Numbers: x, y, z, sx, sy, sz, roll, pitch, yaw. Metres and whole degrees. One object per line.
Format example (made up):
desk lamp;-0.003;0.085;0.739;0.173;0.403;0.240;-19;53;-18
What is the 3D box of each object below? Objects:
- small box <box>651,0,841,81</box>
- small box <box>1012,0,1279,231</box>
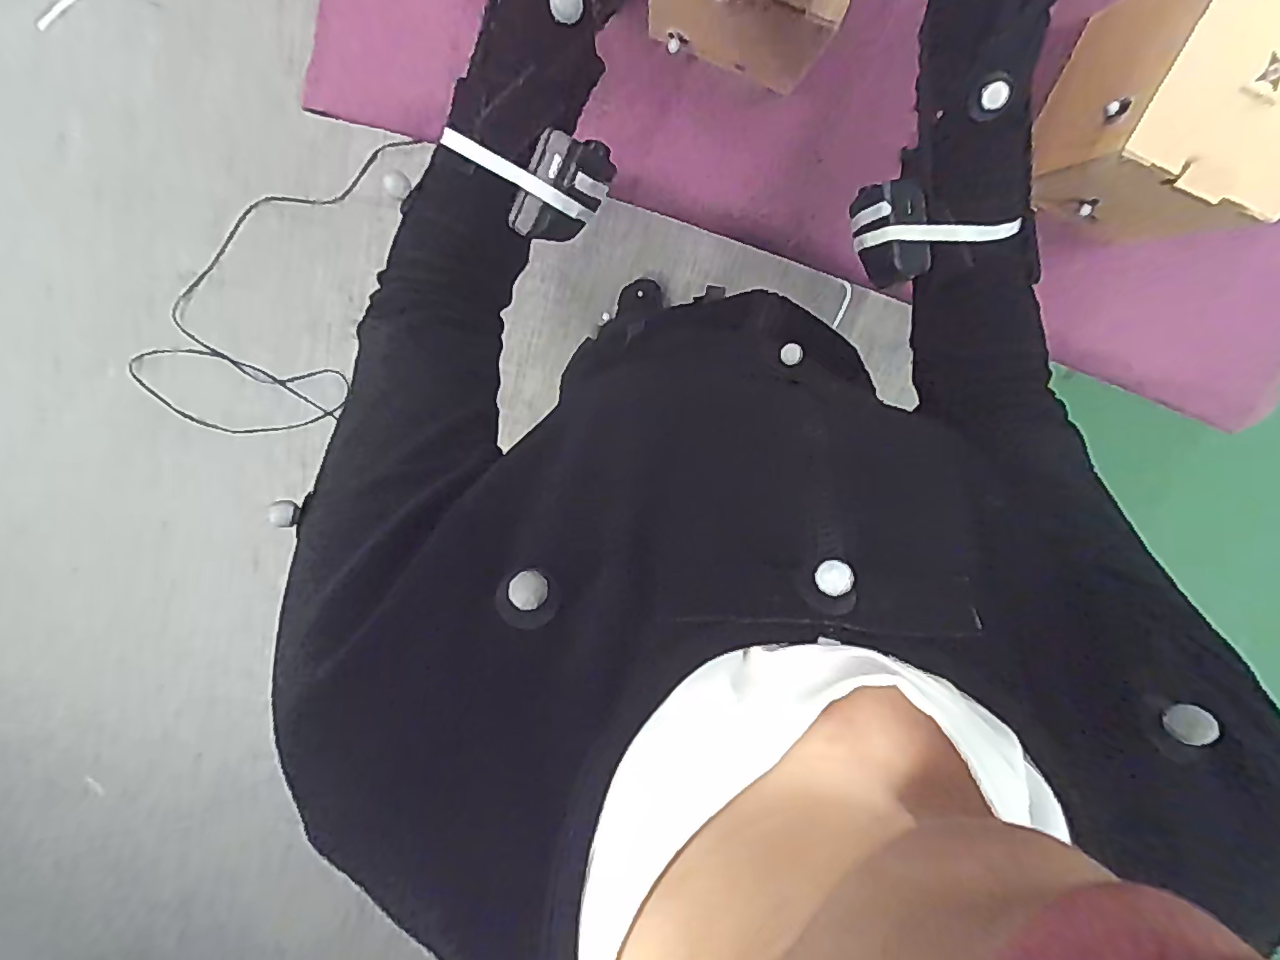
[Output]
small box;0.111;-0.499;0.478;0.168;0.176;0.179;18;109;-6
small box;0.515;-0.363;0.521;0.168;0.176;0.179;19;109;-6
